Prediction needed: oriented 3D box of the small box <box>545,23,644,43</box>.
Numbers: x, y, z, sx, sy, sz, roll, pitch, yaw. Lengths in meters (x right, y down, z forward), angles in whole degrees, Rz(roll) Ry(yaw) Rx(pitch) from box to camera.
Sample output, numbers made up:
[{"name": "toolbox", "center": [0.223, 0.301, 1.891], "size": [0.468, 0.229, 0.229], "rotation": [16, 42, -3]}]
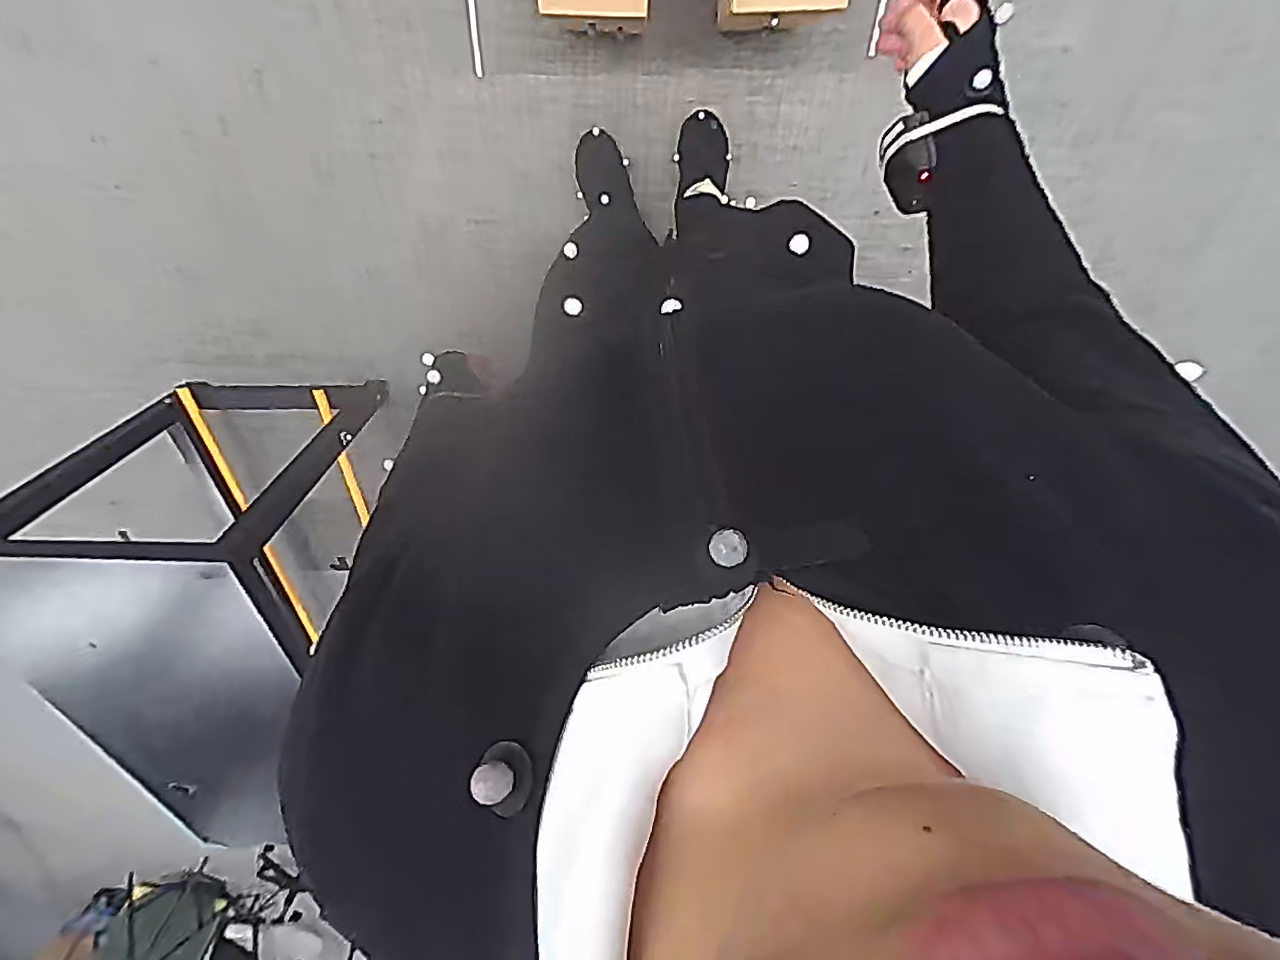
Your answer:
[{"name": "small box", "center": [-0.077, -0.905, 0.976], "size": [0.179, 0.176, 0.168], "rotation": [2, 125, -1]}]

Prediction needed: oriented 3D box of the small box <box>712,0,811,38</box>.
[{"name": "small box", "center": [0.222, -0.912, 0.972], "size": [0.168, 0.176, 0.179], "rotation": [-1, 126, 1]}]

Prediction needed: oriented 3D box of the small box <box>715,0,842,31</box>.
[{"name": "small box", "center": [0.214, -0.812, 0.840], "size": [0.179, 0.176, 0.168], "rotation": [-2, 126, 0]}]

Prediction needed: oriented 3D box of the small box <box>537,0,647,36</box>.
[{"name": "small box", "center": [-0.070, -0.813, 0.841], "size": [0.168, 0.176, 0.179], "rotation": [2, 127, 0]}]
